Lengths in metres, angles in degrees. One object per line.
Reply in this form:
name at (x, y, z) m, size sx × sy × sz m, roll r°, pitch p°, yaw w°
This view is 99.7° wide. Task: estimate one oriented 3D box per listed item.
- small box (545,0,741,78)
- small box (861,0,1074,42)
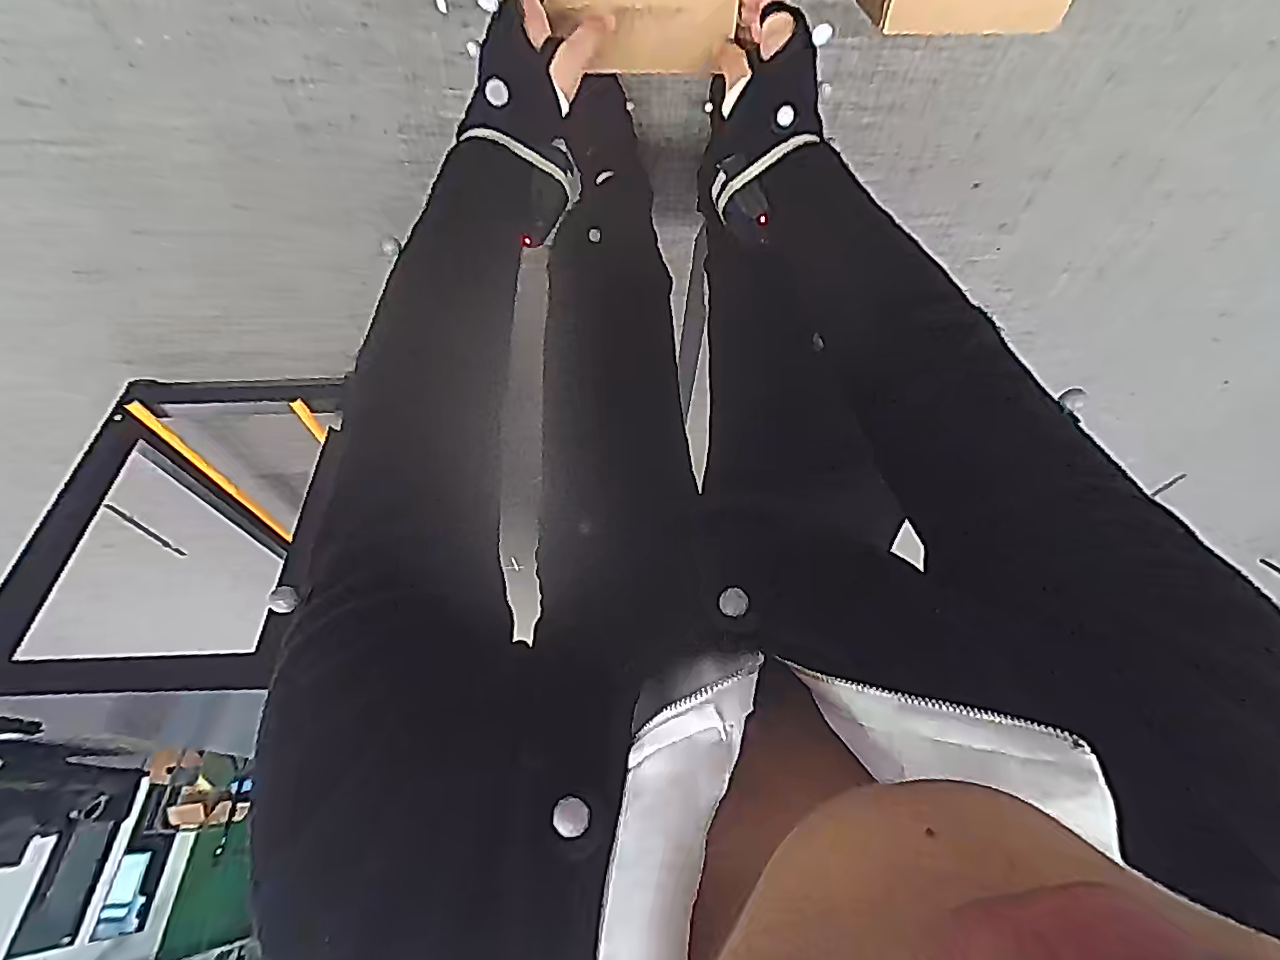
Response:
small box at (-0.001, -0.479, 0.464) m, size 0.168 × 0.176 × 0.179 m, roll -2°, pitch 145°, yaw -2°
small box at (0.309, -0.532, 0.492) m, size 0.179 × 0.176 × 0.168 m, roll -3°, pitch 148°, yaw -3°
